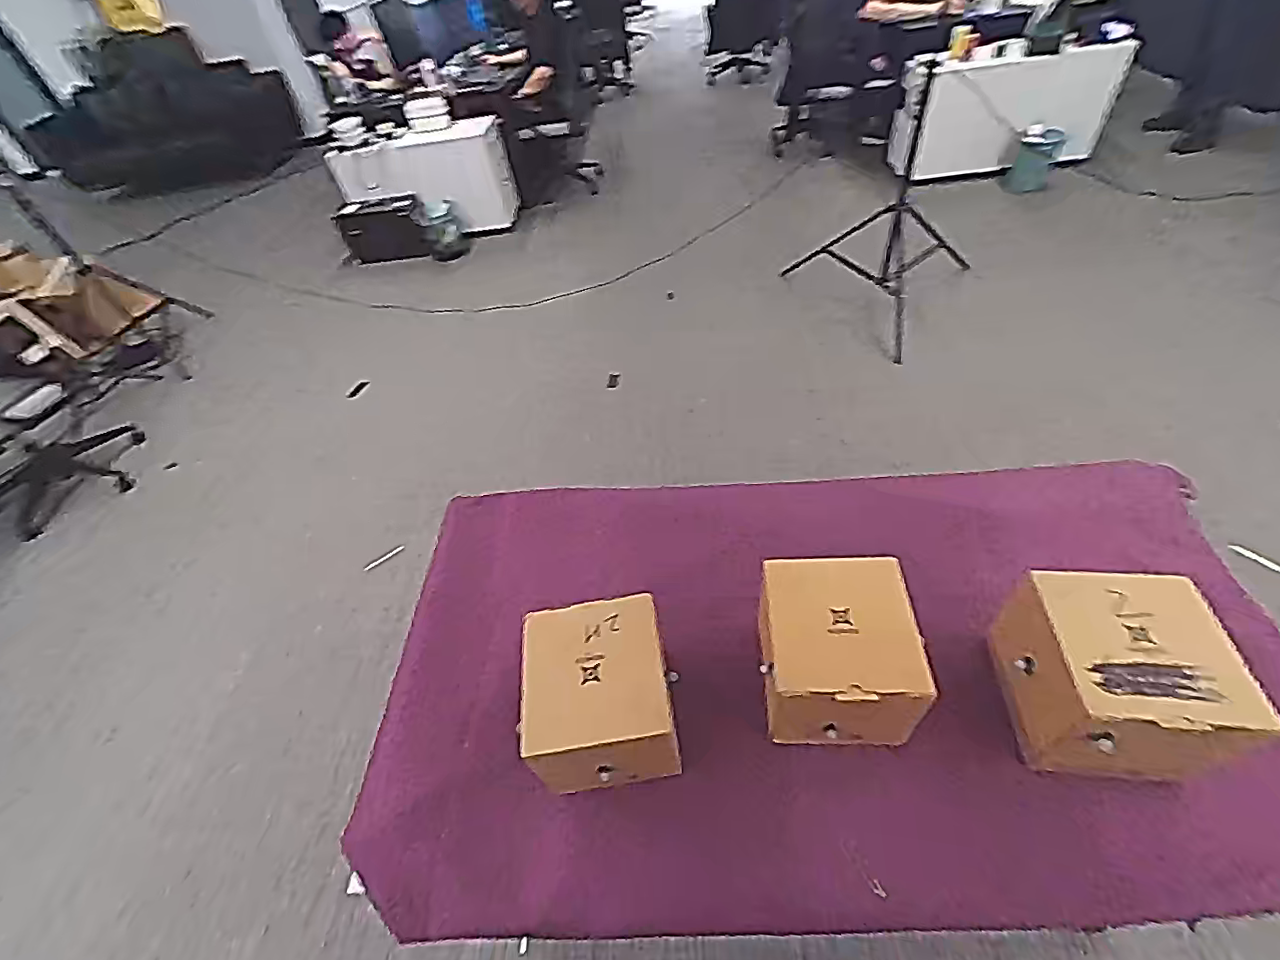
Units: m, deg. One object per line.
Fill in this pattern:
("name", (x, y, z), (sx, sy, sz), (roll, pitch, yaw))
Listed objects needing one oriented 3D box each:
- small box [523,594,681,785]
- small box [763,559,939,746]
("small box", (-0.044, 0.273, 0.692), (0.168, 0.176, 0.179), (-9, 47, 1))
("small box", (0.250, 0.220, 0.694), (0.168, 0.176, 0.179), (-2, 48, 8))
